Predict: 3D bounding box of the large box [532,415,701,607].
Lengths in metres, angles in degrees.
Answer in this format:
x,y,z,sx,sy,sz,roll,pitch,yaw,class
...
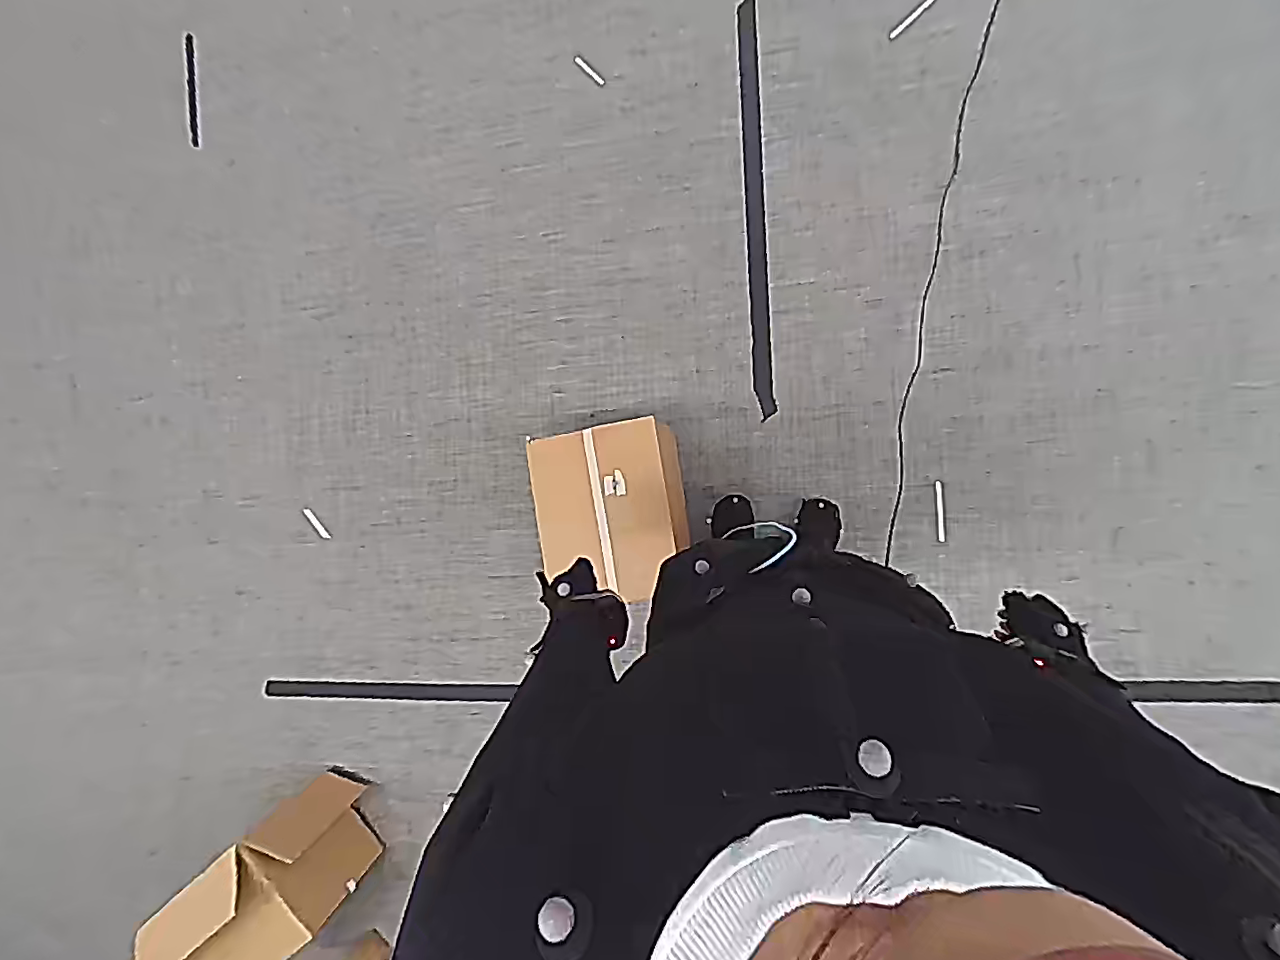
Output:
x,y,z,sx,sy,sz,roll,pitch,yaw,class
-0.043,0.081,1.380,0.320,0.320,0.408,-10,86,11,large box
